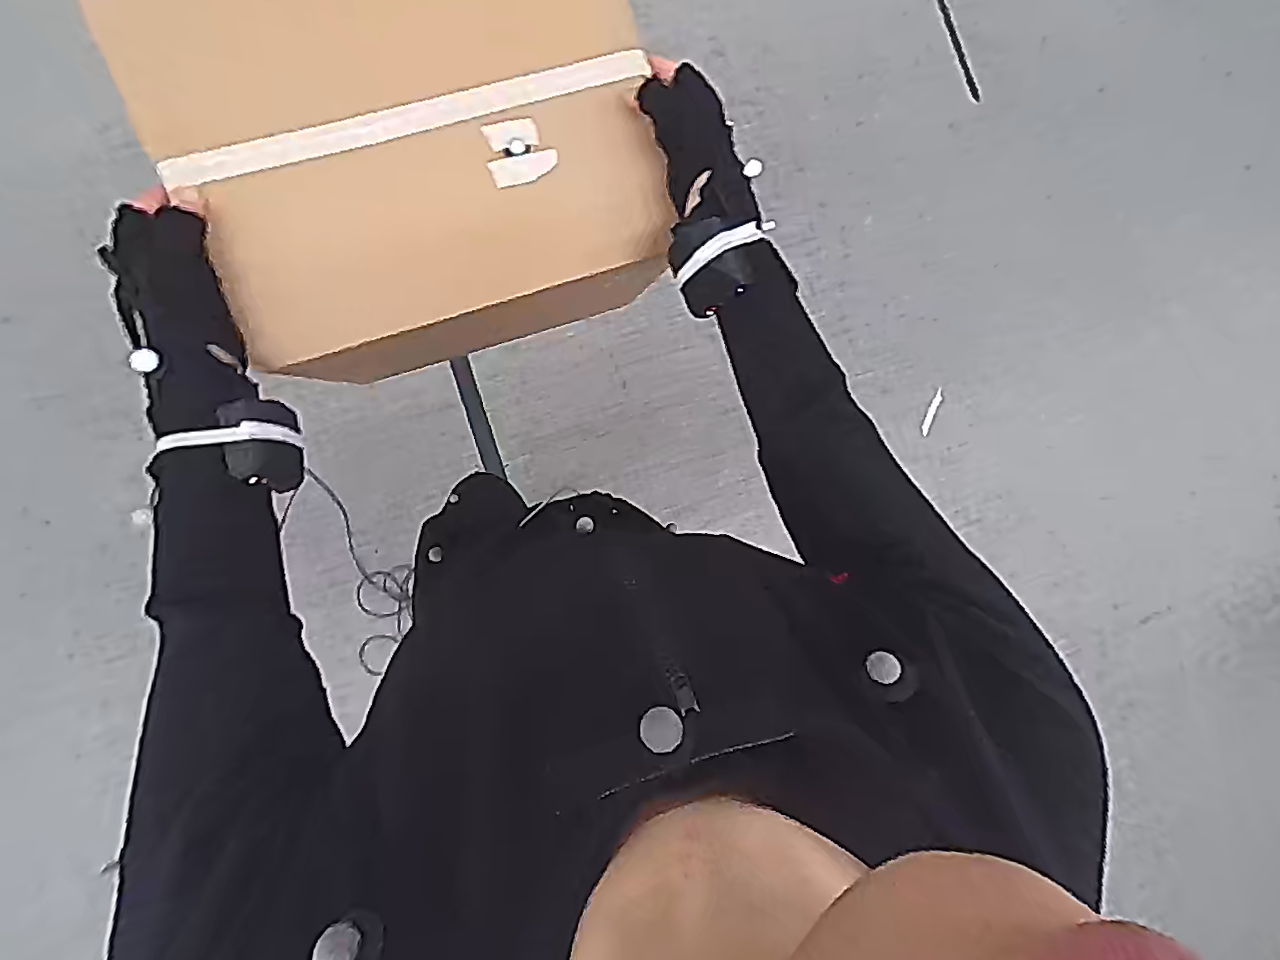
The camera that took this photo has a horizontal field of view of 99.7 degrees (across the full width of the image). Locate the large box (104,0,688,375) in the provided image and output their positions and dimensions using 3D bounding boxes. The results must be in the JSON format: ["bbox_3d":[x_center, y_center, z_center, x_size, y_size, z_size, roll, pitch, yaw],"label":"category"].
[{"bbox_3d":[-0.215,-0.334,0.604,0.408,0.320,0.320,-20,102,-10],"label":"large box"}]
